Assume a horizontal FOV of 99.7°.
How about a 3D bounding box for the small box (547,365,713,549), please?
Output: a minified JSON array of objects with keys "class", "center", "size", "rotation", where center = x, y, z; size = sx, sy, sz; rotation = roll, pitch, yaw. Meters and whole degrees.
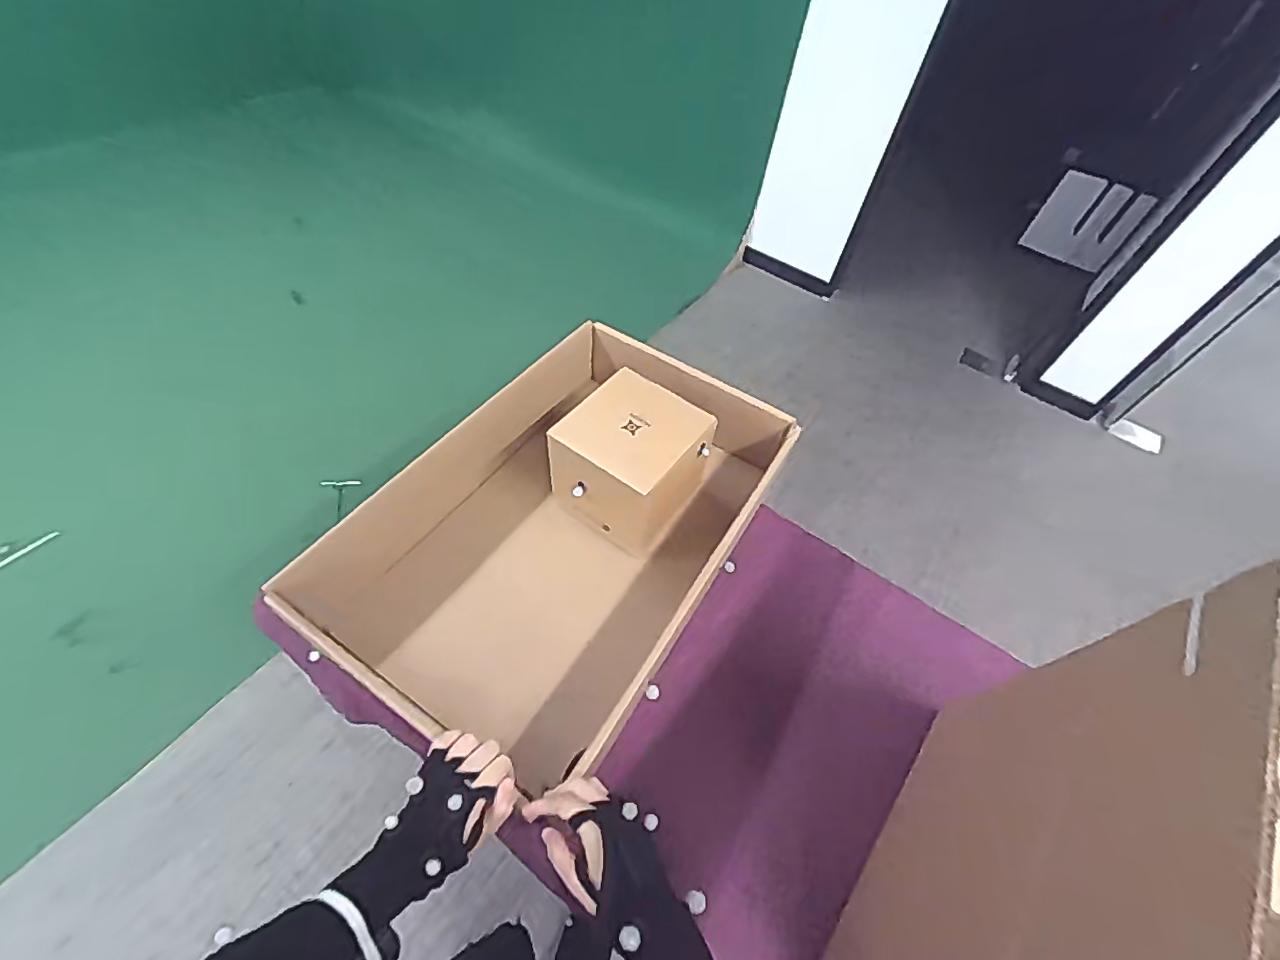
[{"class":"small box","center":[-0.014,-0.030,0.800],"size":[0.168,0.176,0.179],"rotation":[32,57,18]}]
